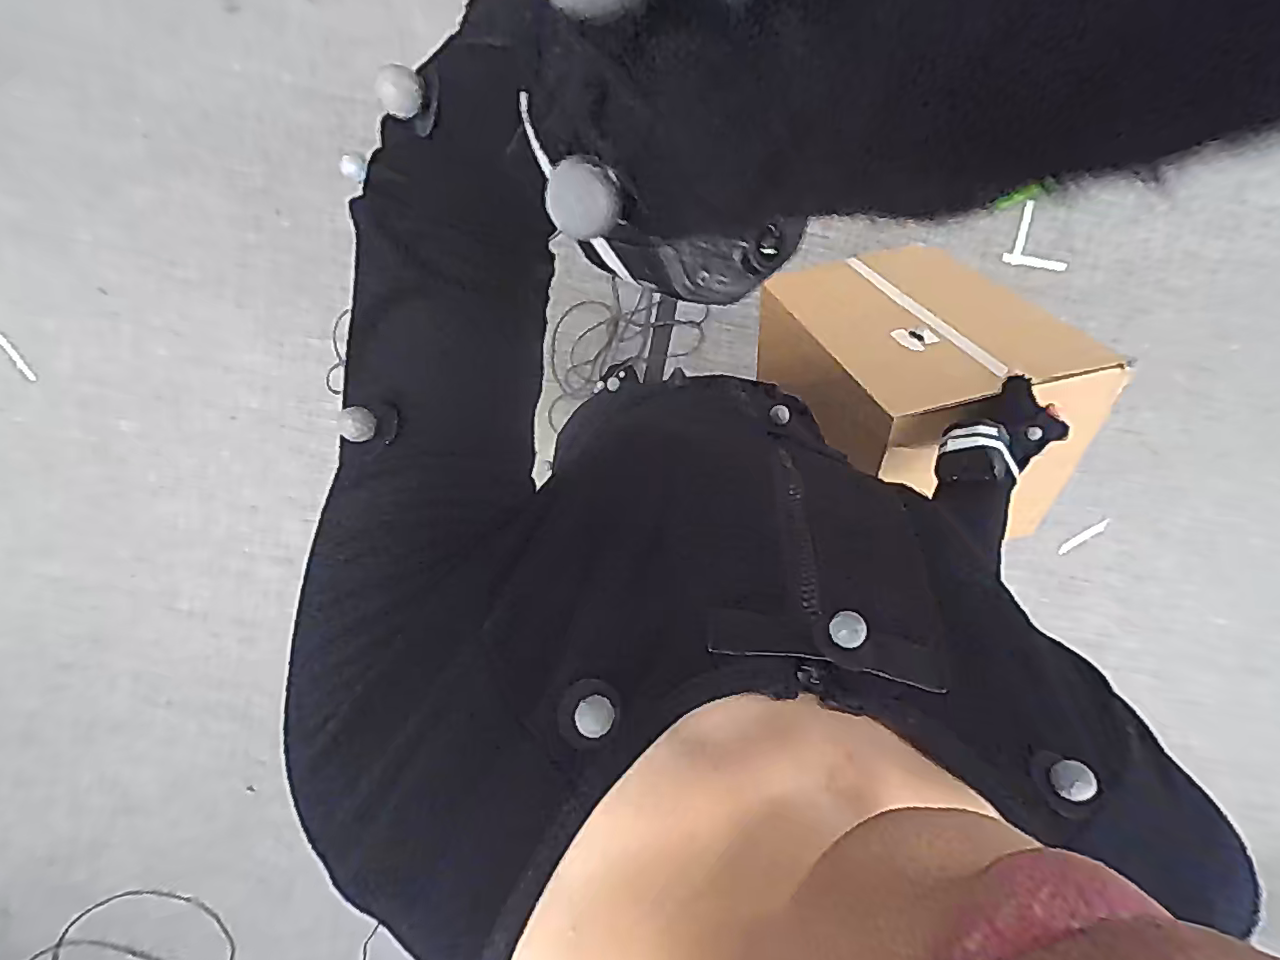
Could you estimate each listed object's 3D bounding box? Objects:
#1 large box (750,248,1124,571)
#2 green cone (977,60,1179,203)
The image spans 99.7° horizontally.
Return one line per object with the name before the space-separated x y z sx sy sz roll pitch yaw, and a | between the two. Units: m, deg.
large box | 0.401 -0.127 0.874 0.320 0.408 0.320 -13 135 -5
green cone | 0.962 -0.784 1.173 0.202 0.368 0.200 -27 102 2
